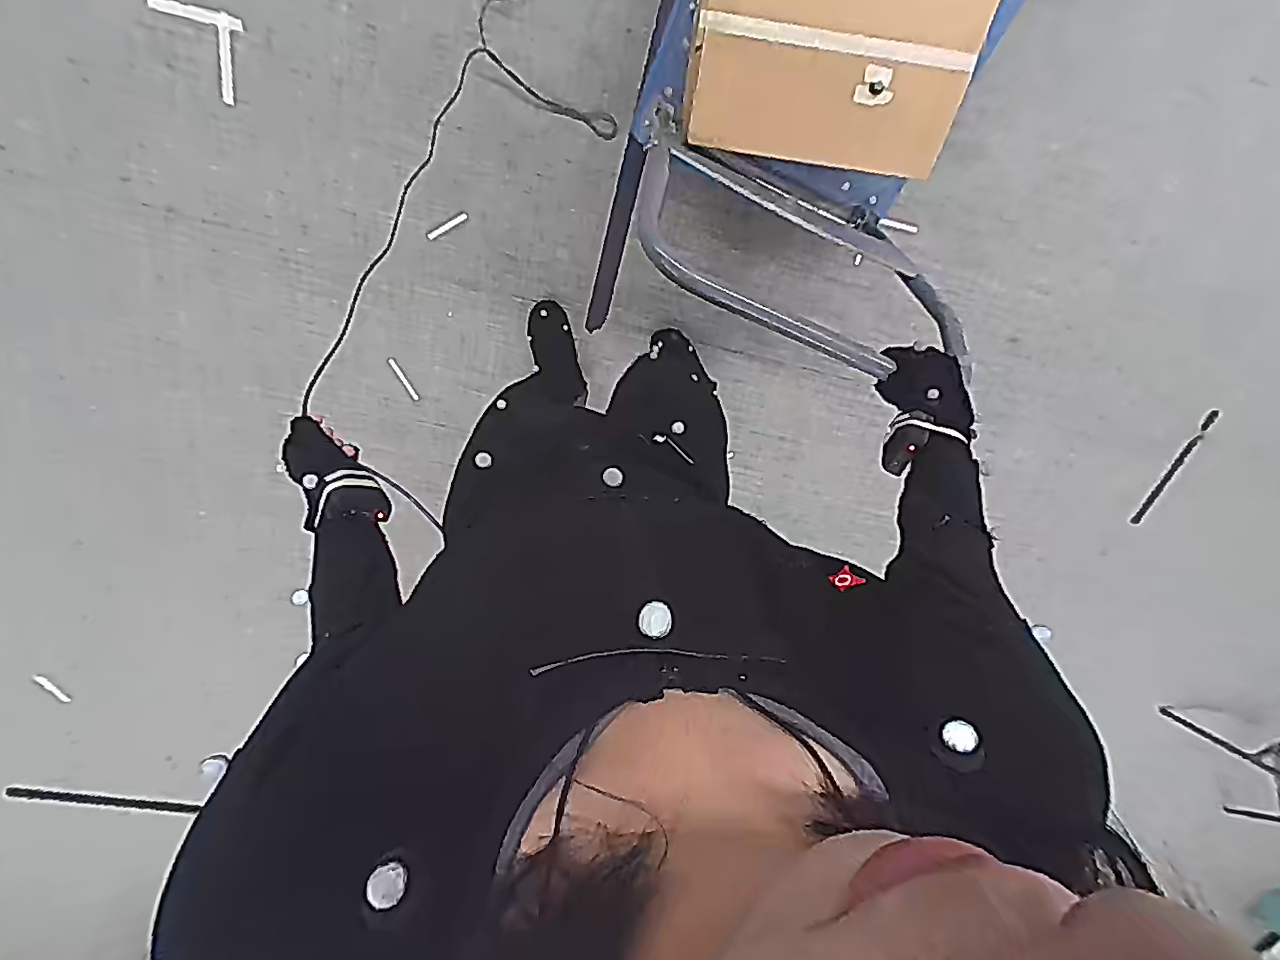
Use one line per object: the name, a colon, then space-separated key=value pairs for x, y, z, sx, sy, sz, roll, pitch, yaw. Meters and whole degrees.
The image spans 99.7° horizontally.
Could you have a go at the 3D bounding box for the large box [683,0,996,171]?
large box: x=0.295 y=-0.734 z=0.899 sx=0.408 sy=0.320 sz=0.320 roll=6 pitch=129 yaw=-4
